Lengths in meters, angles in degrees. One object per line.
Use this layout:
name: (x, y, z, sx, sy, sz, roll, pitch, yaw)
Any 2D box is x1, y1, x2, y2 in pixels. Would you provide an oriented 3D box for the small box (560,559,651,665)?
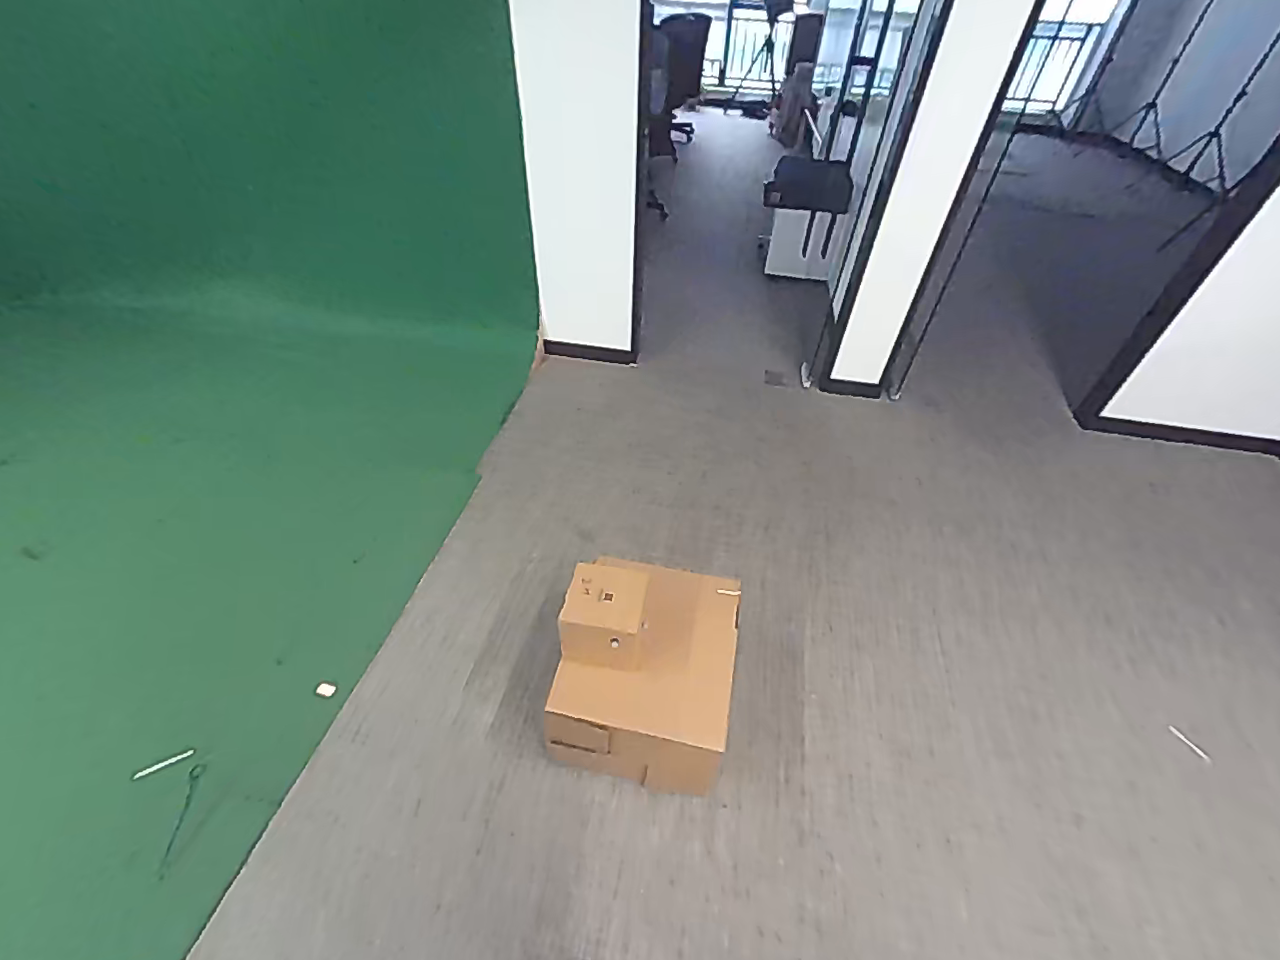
small box: (-0.076, 0.313, 1.268, 0.179, 0.176, 0.168, 8, 43, 7)
